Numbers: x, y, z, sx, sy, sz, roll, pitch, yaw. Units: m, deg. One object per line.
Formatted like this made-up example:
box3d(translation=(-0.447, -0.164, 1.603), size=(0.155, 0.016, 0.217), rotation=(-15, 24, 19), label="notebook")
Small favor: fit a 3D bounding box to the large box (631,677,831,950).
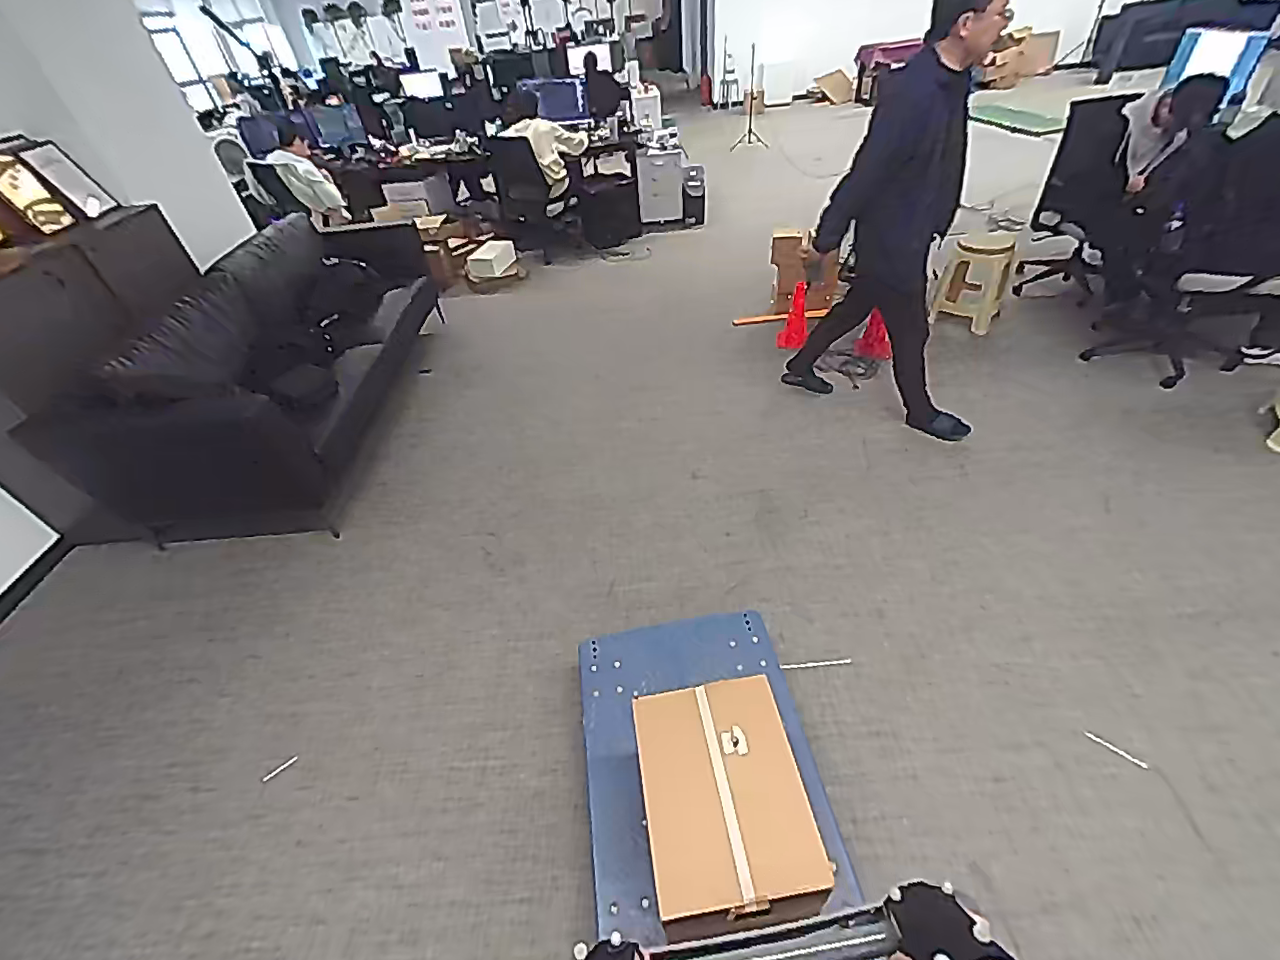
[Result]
box3d(translation=(0.177, 0.717, 1.184), size=(0.320, 0.320, 0.408), rotation=(-10, 41, -2), label="large box")
